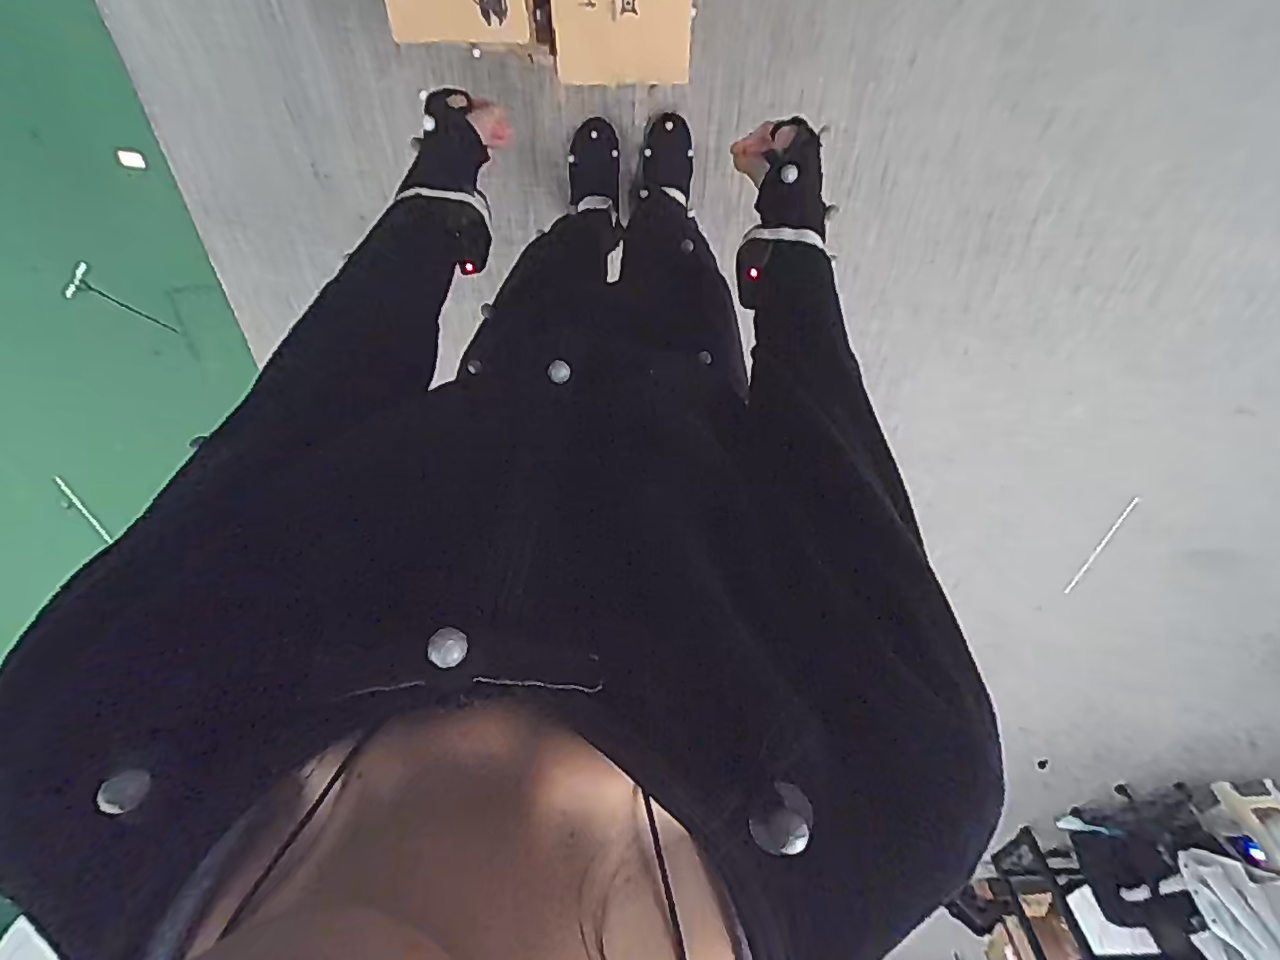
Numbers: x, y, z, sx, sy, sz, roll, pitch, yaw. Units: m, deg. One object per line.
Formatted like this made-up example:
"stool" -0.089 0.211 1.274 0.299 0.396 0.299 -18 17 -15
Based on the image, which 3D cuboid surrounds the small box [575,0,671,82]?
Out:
"small box" -0.032 -0.837 0.981 0.168 0.176 0.179 0 130 -1
